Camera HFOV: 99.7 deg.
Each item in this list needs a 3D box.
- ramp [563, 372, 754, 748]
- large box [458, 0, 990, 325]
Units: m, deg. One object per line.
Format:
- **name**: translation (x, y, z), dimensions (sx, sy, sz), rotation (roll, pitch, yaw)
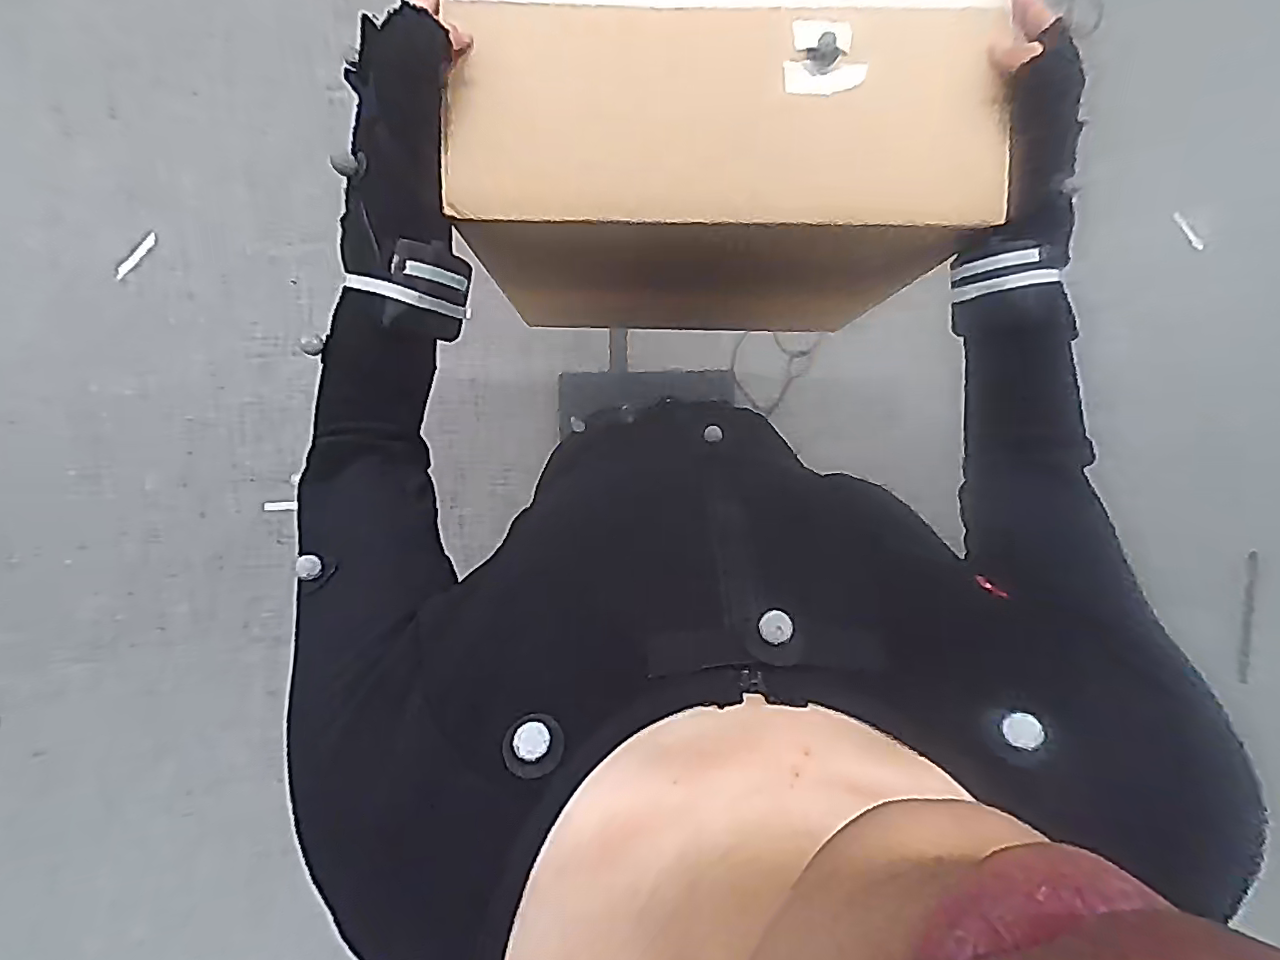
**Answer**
- **ramp**: translation (0.039, 0.197, 1.469), dimensions (0.509, 0.206, 0.991), rotation (-3, 93, 1)
- **large box**: translation (0.058, -0.353, 0.550), dimensions (0.408, 0.320, 0.320), rotation (0, 92, -2)
